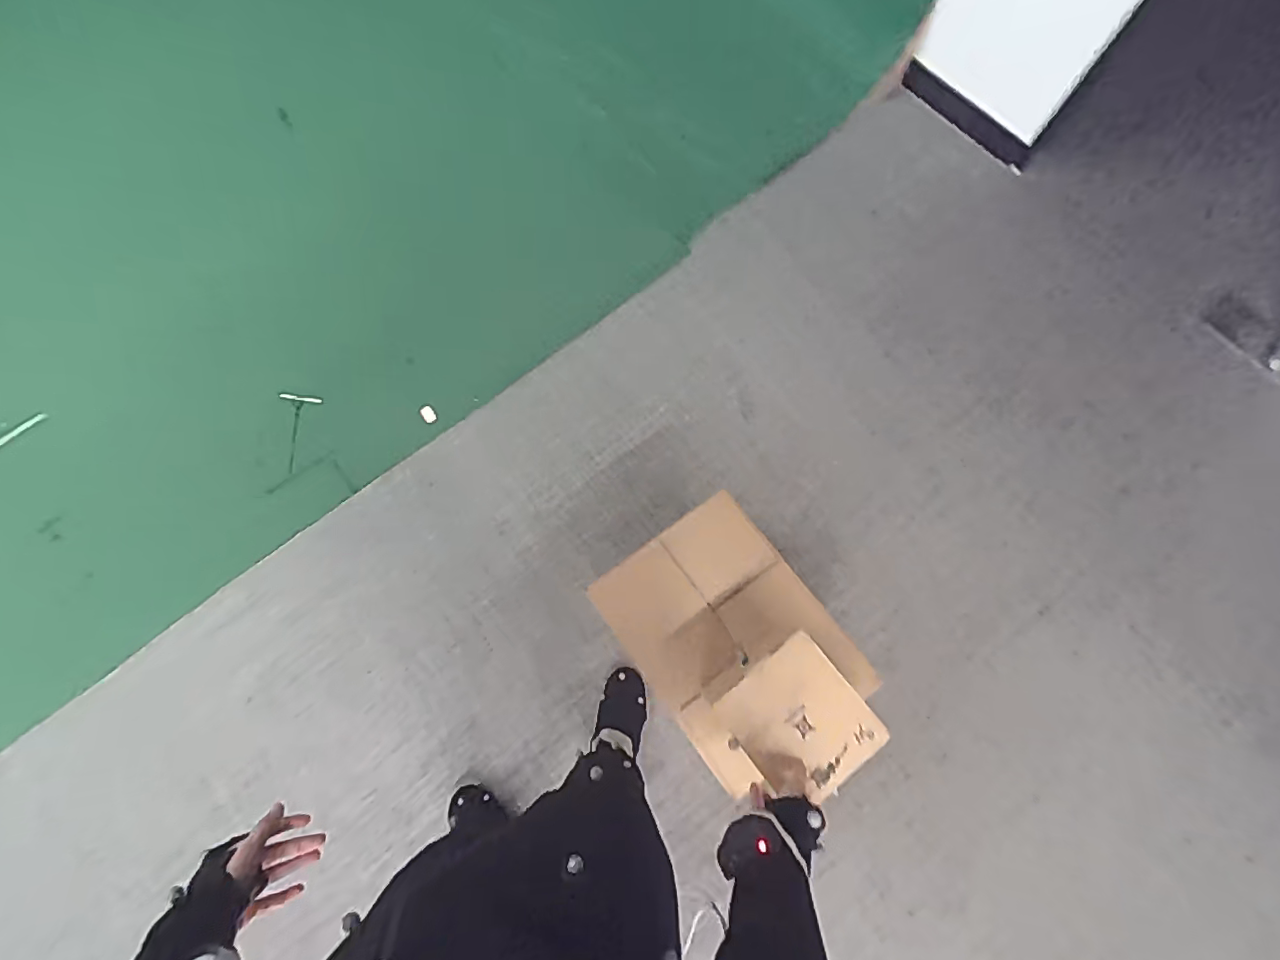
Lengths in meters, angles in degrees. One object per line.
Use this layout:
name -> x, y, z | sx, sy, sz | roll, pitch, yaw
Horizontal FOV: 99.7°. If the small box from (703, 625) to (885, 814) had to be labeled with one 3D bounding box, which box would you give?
small box -> 0.207, 0.334, 0.787 | 0.168, 0.176, 0.179 | -36, 76, -7
